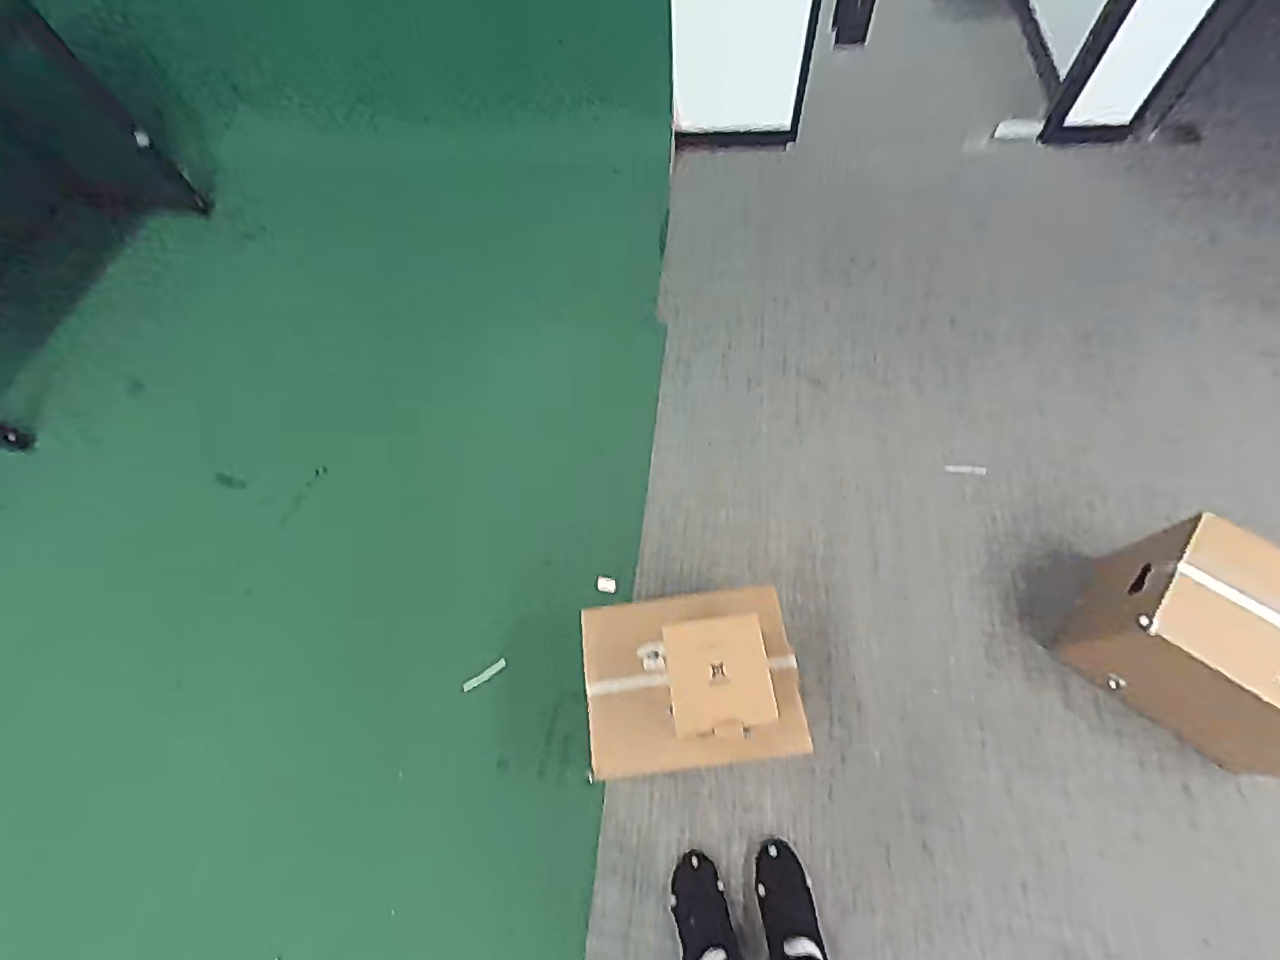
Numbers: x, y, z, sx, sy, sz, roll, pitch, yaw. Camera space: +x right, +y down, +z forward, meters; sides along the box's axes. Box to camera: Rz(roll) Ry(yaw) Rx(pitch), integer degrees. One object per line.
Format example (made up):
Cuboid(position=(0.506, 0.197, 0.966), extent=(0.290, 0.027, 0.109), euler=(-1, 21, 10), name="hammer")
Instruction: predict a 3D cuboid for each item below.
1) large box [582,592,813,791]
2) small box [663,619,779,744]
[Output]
Cuboid(position=(0.111, 0.458, 1.164), extent=(0.408, 0.320, 0.320), euler=(-9, 62, 2), name="large box")
Cuboid(position=(0.134, 0.353, 0.939), extent=(0.168, 0.176, 0.179), euler=(-7, 63, 1), name="small box")
